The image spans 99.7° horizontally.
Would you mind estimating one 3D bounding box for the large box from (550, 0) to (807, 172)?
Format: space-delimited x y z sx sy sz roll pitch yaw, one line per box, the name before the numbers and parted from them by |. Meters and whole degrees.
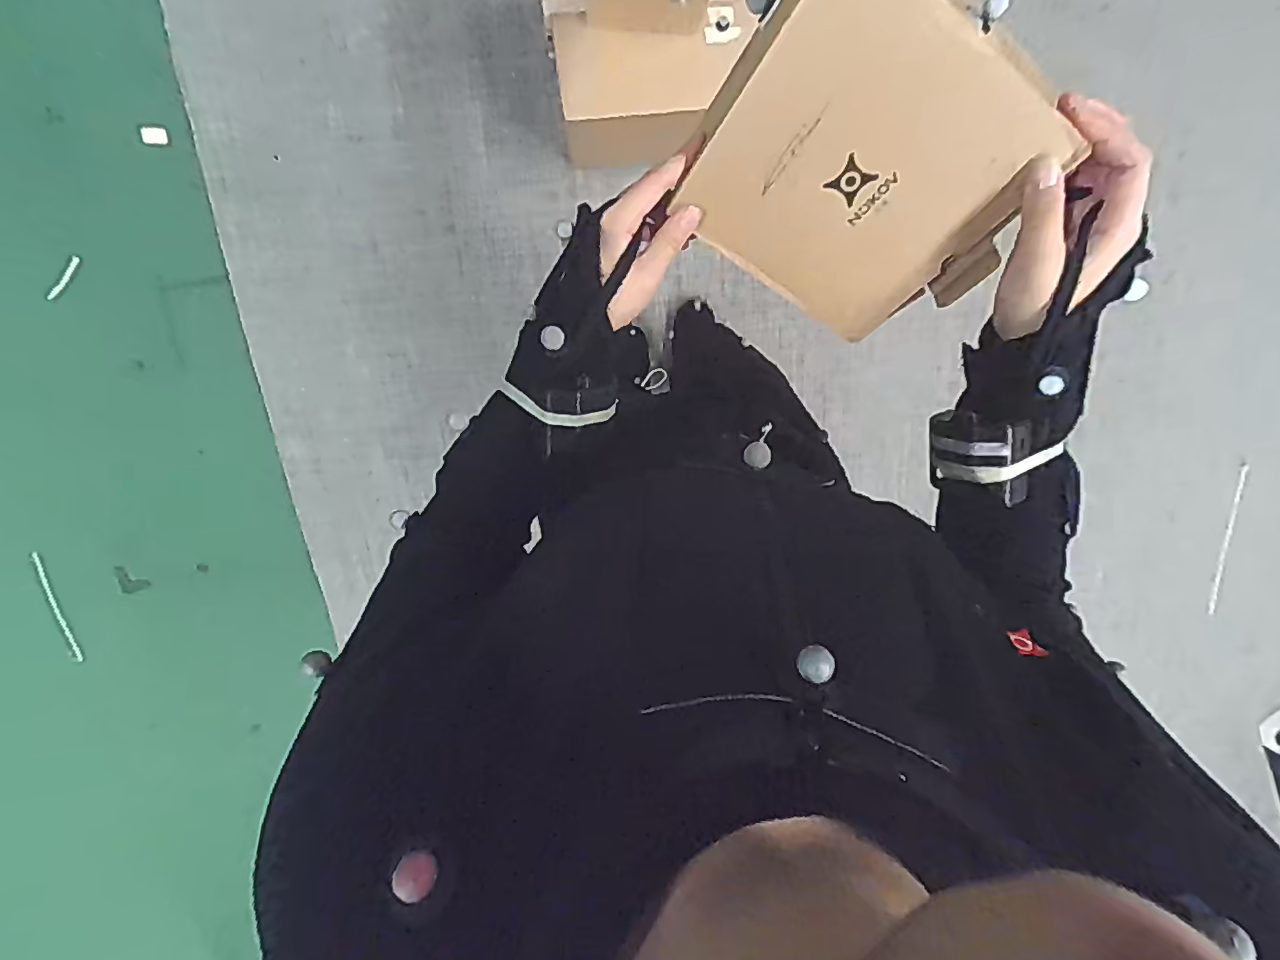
large box | 0.051 -0.791 0.987 0.408 0.320 0.320 -7 108 -3
